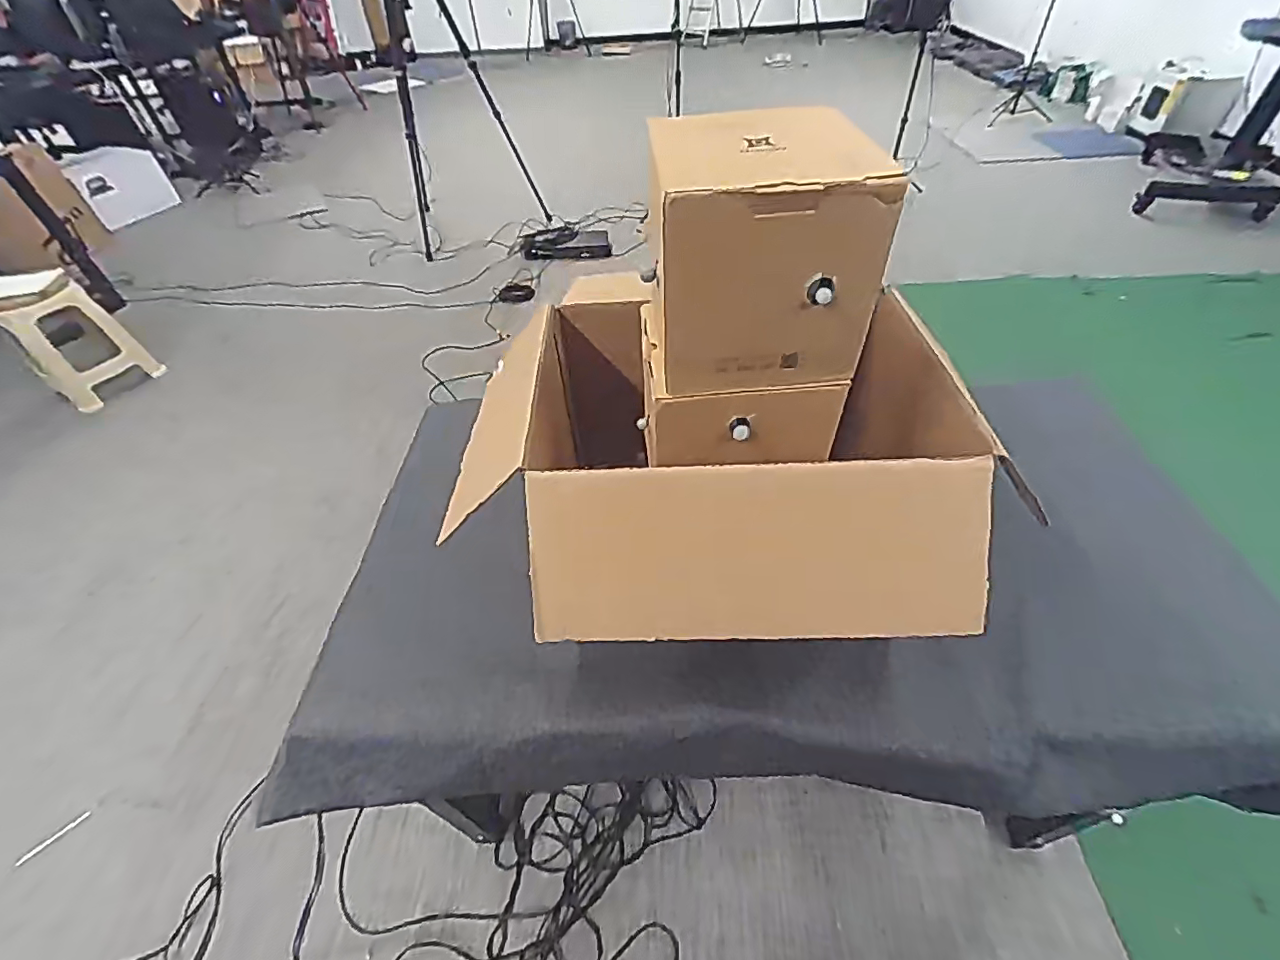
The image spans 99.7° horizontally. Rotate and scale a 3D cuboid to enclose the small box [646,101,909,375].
[{"bbox_3d":[0.095,-0.202,0.467,0.168,0.176,0.179,-4,46,-2],"label":"small box"}]
